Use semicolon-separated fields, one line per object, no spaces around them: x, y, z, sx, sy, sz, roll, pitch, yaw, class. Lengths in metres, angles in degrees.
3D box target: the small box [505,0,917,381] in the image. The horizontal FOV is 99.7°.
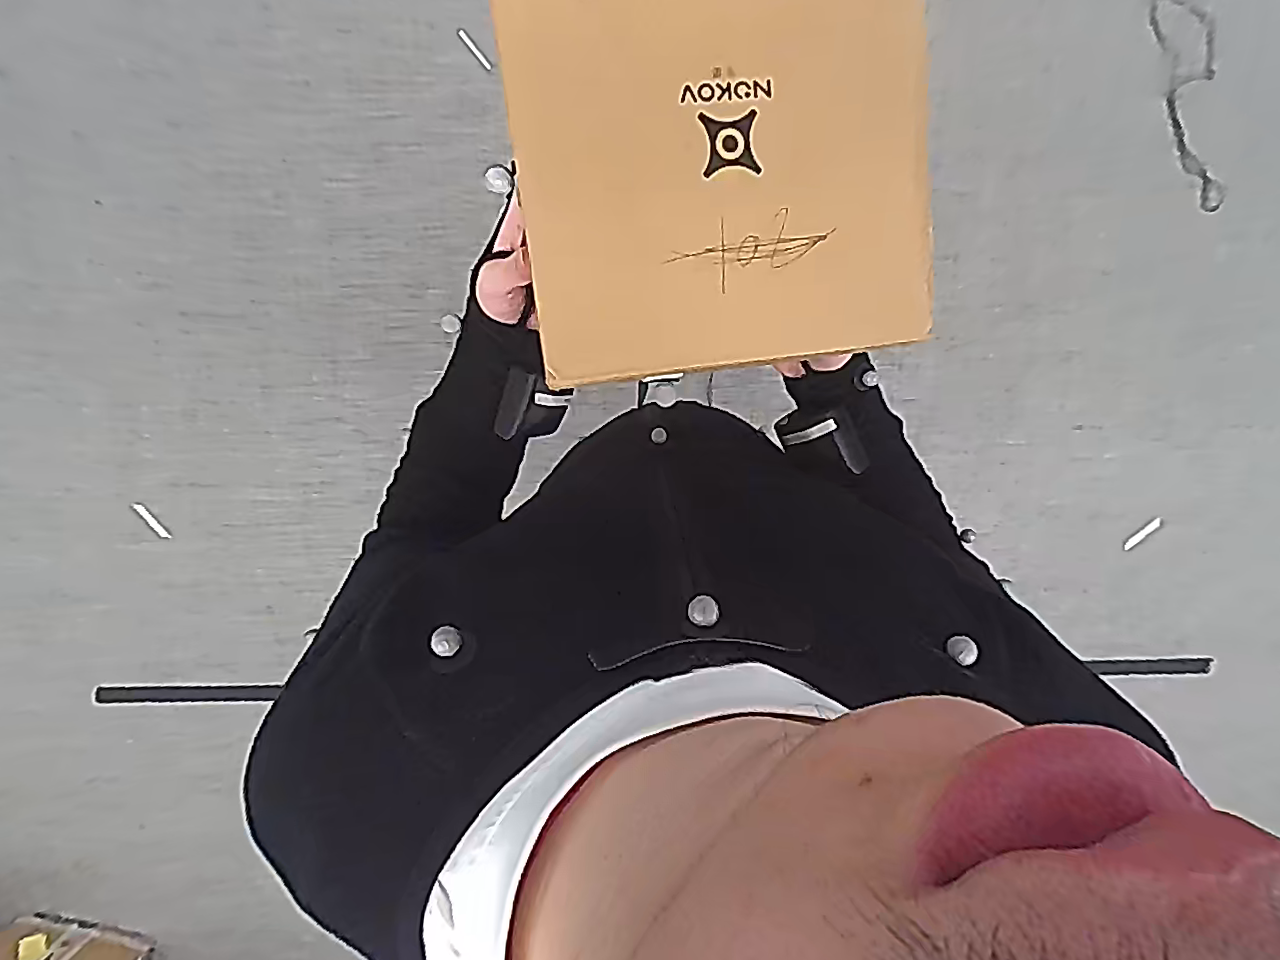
0.023;-0.154;0.298;0.168;0.176;0.179;-9;100;-6;small box
